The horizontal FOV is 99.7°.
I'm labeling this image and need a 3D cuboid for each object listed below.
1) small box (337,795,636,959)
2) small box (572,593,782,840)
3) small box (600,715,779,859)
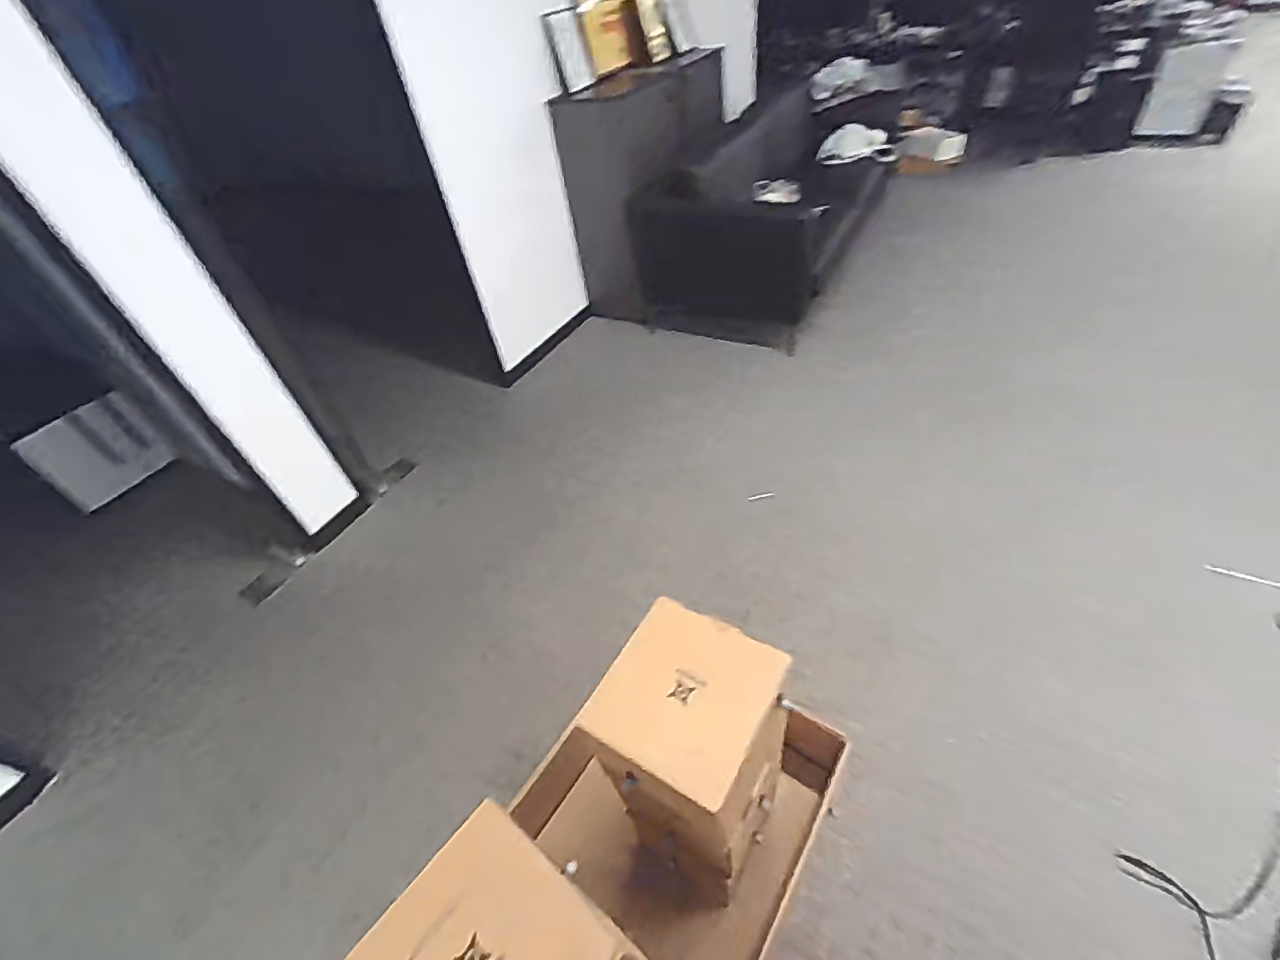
[{"bbox_3d":[-0.121,0.432,0.483,0.179,0.176,0.168,26,54,31],"label":"small box"},{"bbox_3d":[0.052,0.271,0.621,0.168,0.176,0.179,20,52,27],"label":"small box"},{"bbox_3d":[0.071,0.381,0.740,0.179,0.176,0.168,21,52,26],"label":"small box"}]
